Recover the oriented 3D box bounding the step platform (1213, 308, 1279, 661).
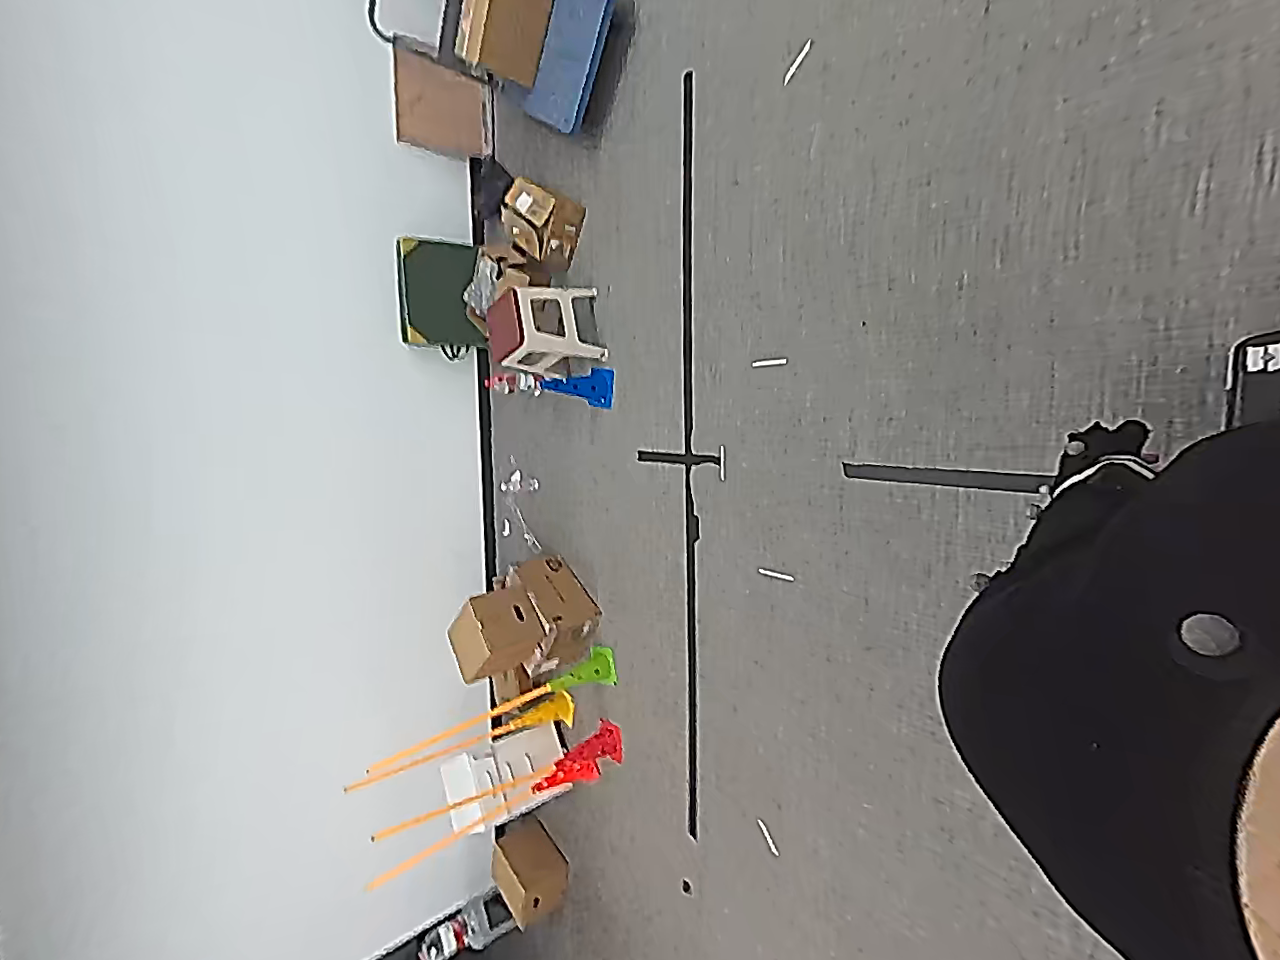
[{"bbox_3d":[1.281,0.011,0.998,0.286,0.204,0.684,3,95,49],"label":"step platform"}]
